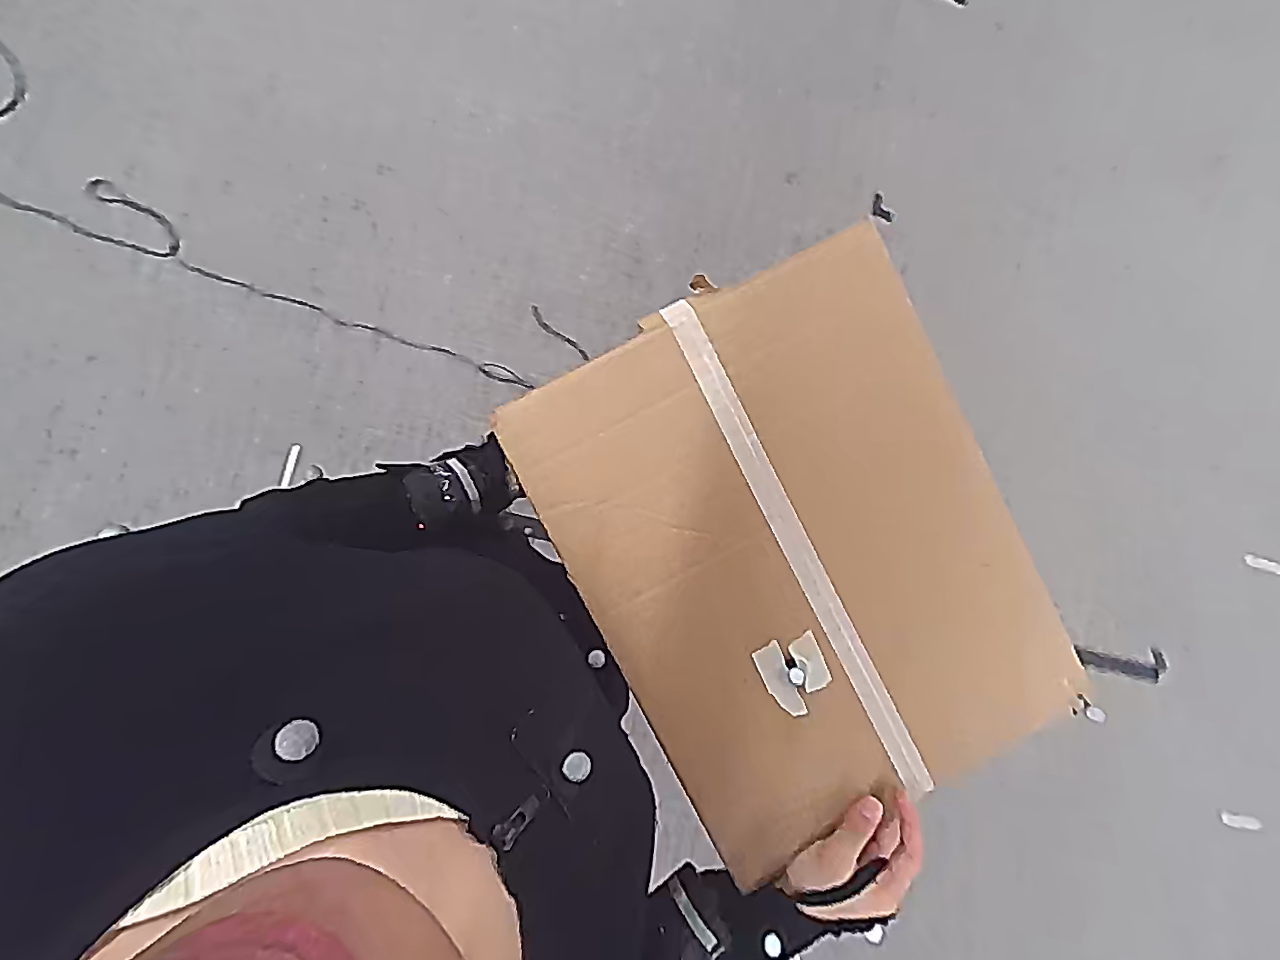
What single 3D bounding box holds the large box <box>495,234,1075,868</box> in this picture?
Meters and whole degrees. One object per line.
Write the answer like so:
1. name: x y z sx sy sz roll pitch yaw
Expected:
1. large box: 0.109 0.051 0.557 0.320 0.320 0.408 -28 94 -1
